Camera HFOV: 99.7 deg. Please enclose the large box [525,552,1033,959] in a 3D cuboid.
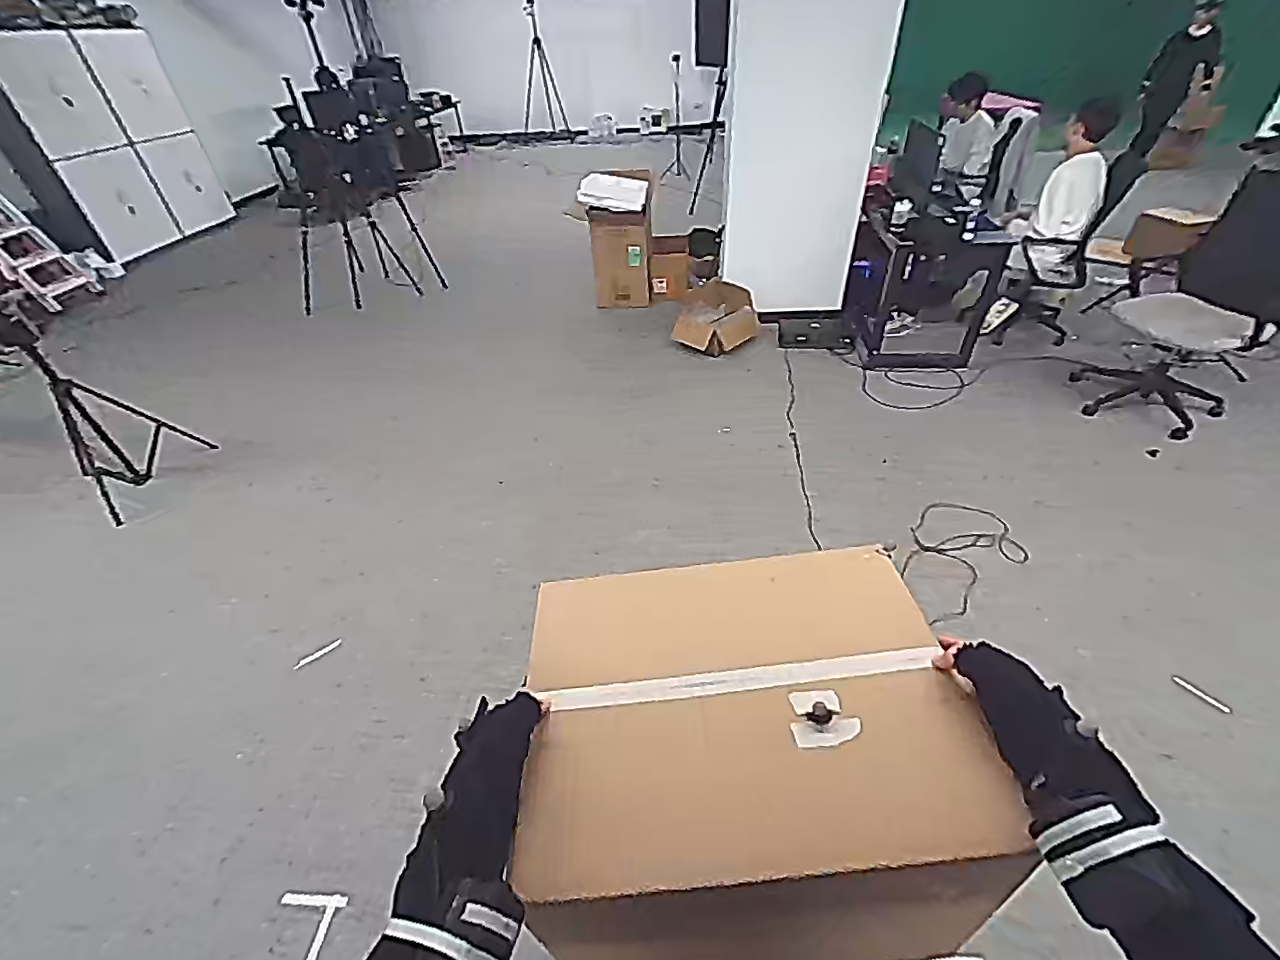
[{"bbox_3d":[0.112,0.320,0.619,0.408,0.320,0.320,-7,38,2],"label":"large box"}]
